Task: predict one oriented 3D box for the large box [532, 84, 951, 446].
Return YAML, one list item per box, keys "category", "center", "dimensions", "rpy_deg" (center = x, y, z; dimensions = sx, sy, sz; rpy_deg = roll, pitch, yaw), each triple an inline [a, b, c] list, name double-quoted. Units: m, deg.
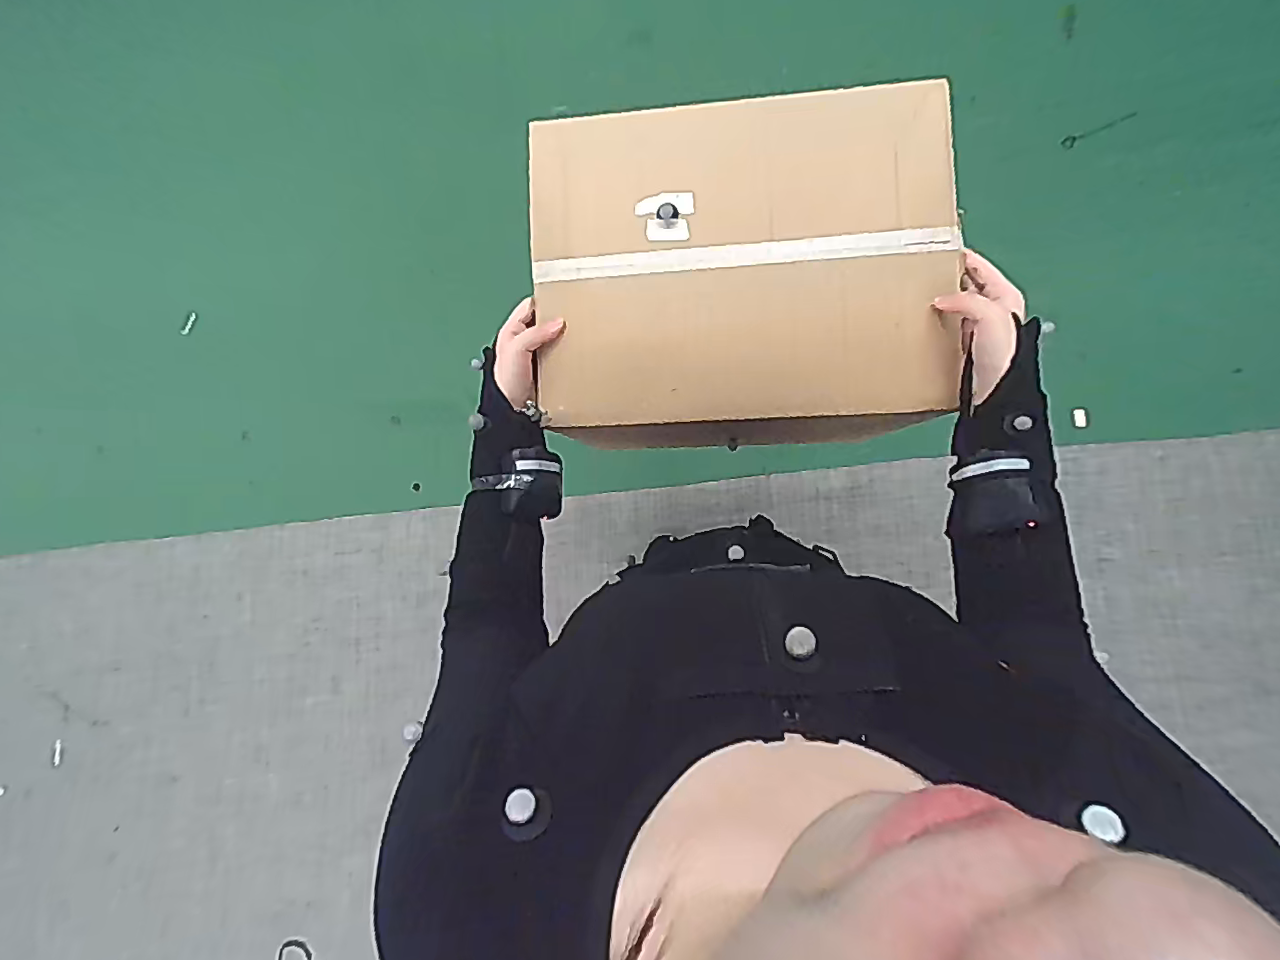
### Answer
- category: "large box"
  center: [0.112, -0.214, 0.684]
  dimensions: [0.408, 0.320, 0.320]
  rpy_deg: [-2, 88, 8]
